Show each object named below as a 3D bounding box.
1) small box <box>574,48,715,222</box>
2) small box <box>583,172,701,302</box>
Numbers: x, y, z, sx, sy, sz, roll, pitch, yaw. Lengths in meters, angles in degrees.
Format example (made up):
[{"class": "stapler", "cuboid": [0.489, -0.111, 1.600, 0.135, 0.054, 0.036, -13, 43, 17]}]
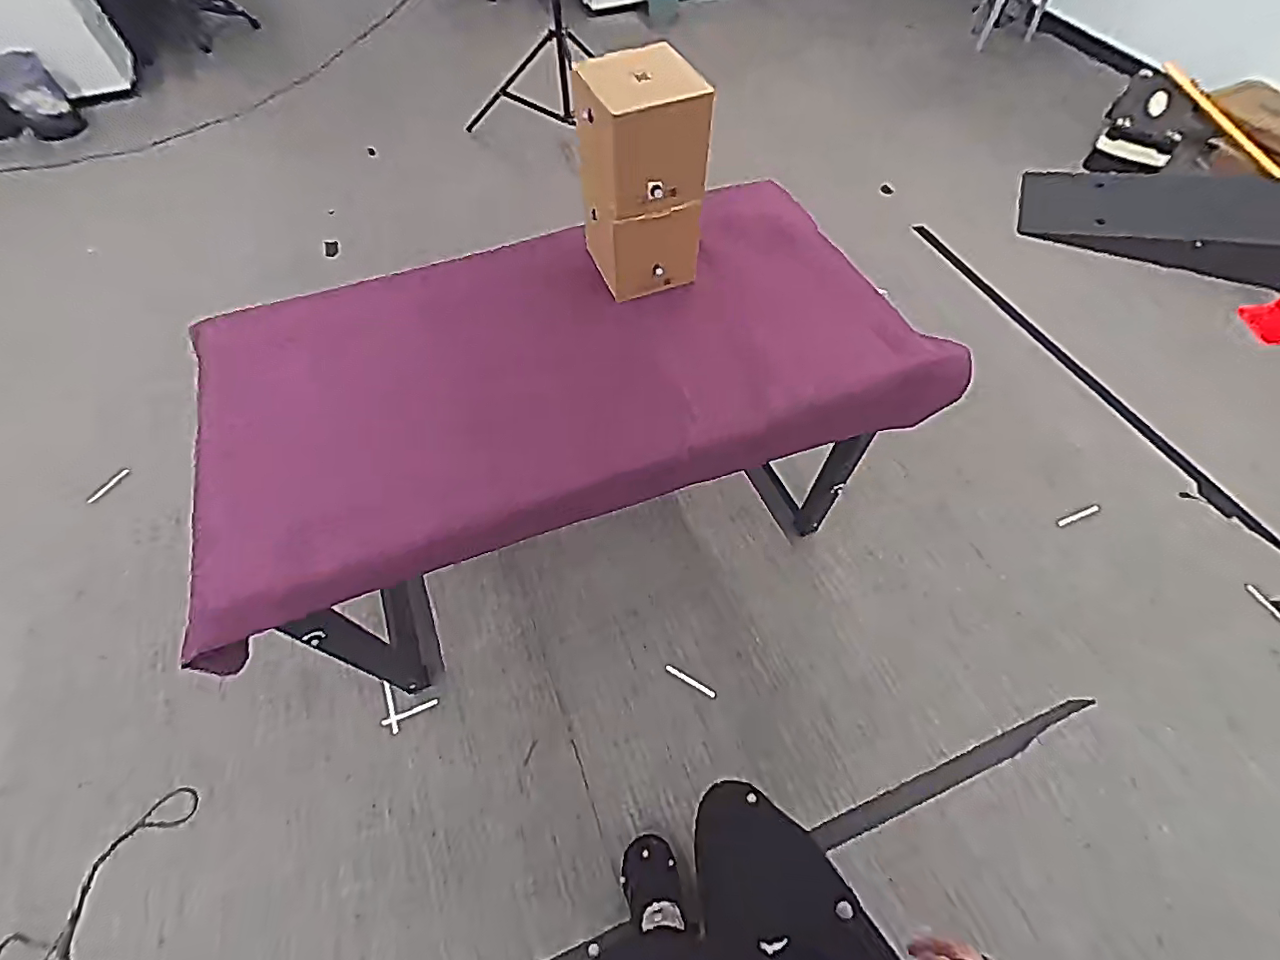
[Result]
[{"class": "small box", "cuboid": [0.002, -0.560, 0.885, 0.168, 0.176, 0.179, -22, 63, -11]}, {"class": "small box", "cuboid": [-0.001, -0.471, 1.022, 0.168, 0.176, 0.179, -19, 62, -10]}]
